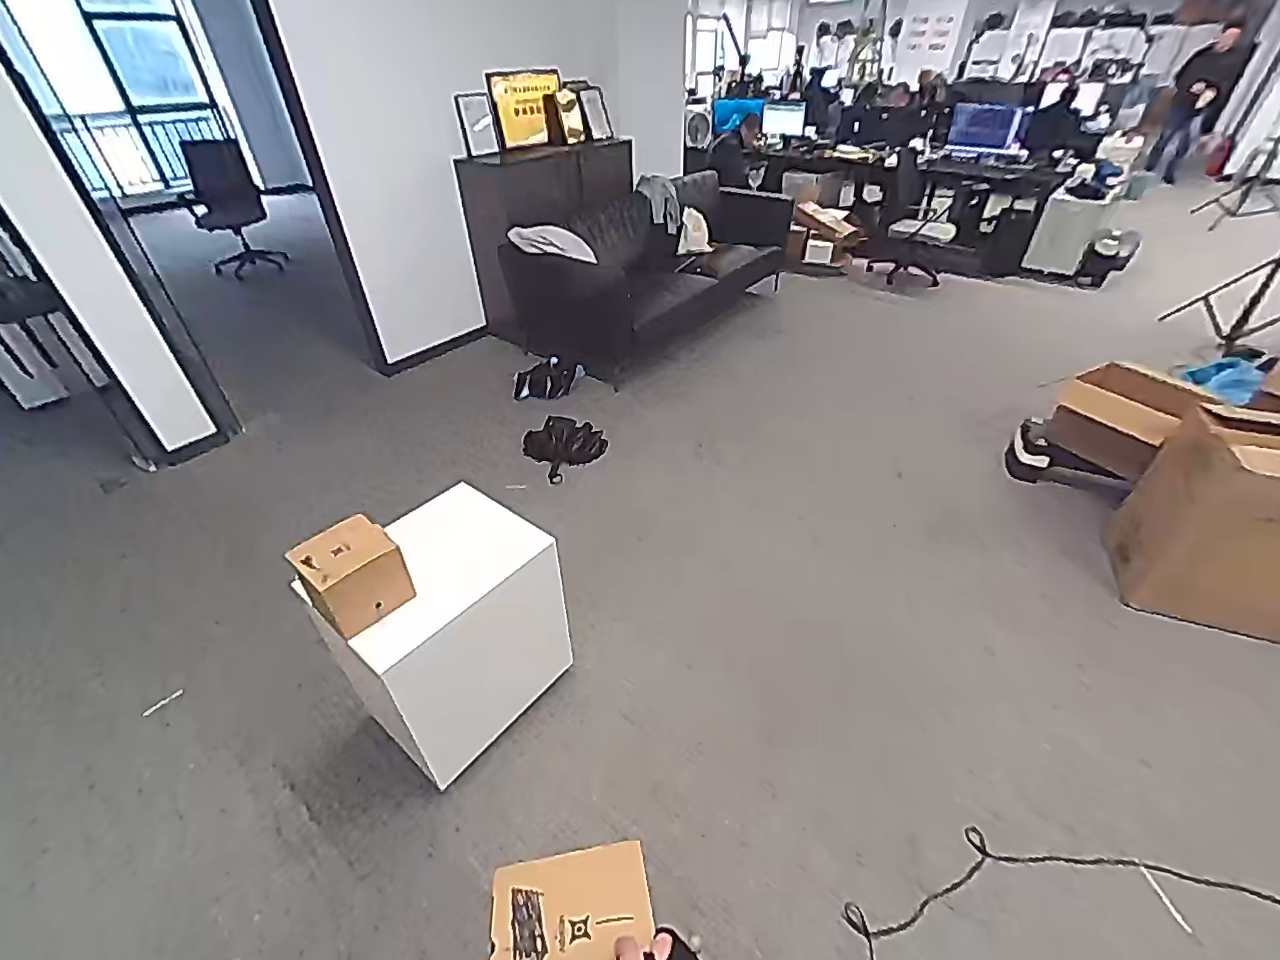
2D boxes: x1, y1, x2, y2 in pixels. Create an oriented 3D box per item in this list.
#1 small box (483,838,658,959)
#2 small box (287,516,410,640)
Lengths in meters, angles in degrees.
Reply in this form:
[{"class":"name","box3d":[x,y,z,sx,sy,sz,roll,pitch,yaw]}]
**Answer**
[{"class":"small box","box3d":[-0.069,0.542,0.590,0.179,0.176,0.168,-6,21,-8]},{"class":"small box","box3d":[-0.639,0.216,1.210,0.168,0.176,0.179,27,44,31]}]
